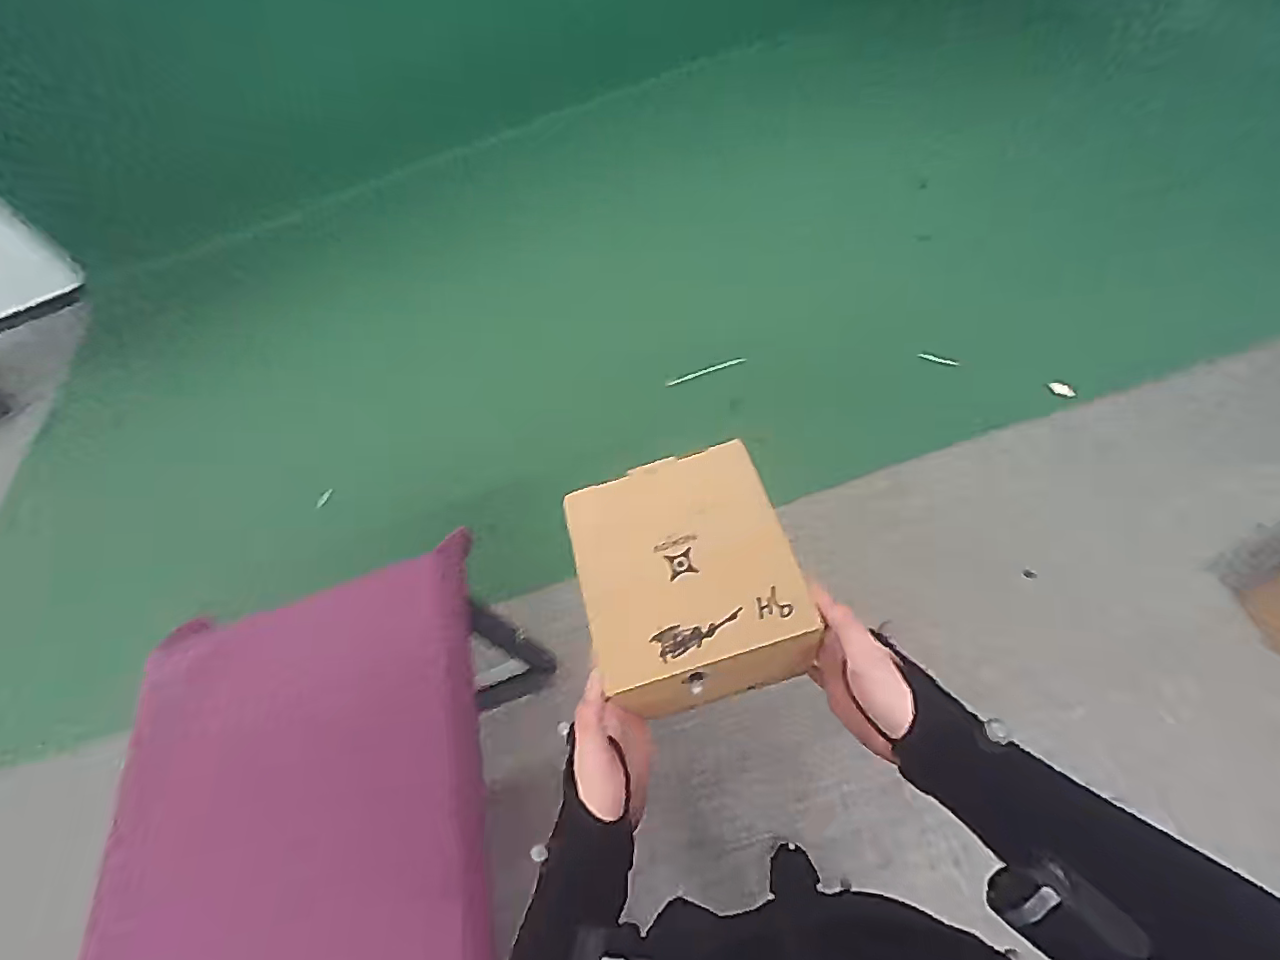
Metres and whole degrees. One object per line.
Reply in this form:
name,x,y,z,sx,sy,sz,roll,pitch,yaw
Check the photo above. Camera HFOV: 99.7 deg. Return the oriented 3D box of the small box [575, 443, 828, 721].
small box,0.052,0.100,0.494,0.168,0.176,0.179,-18,57,3
